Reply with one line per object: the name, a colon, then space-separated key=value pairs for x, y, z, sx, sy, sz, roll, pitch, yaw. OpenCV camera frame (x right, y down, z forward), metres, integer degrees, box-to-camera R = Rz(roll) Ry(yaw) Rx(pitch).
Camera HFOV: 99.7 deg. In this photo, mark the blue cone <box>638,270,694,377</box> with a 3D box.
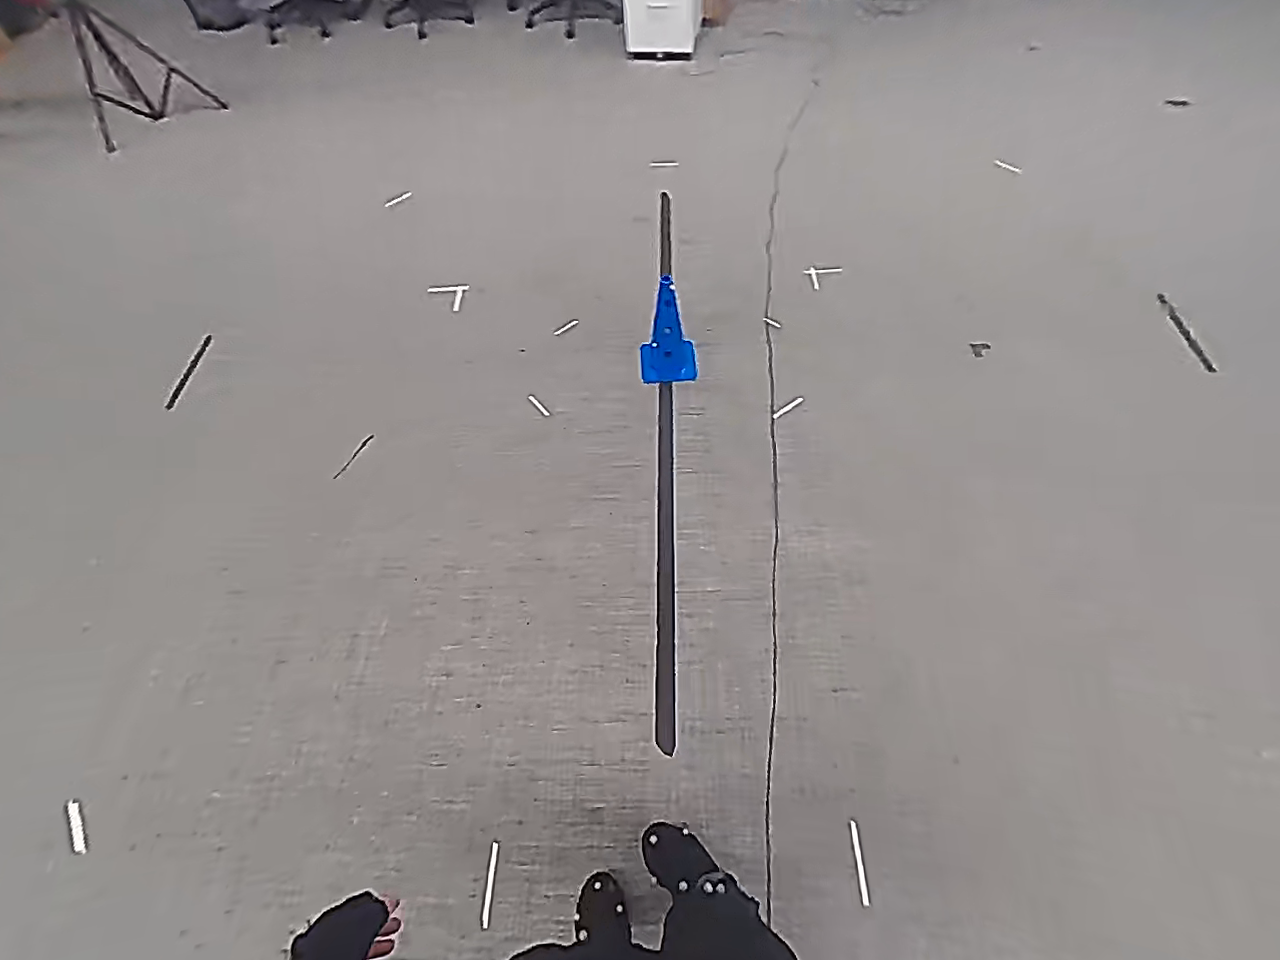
blue cone: x=0.082 y=-0.537 z=1.826 sx=0.192 sy=0.380 sz=0.193 roll=-6 pitch=56 yaw=0
